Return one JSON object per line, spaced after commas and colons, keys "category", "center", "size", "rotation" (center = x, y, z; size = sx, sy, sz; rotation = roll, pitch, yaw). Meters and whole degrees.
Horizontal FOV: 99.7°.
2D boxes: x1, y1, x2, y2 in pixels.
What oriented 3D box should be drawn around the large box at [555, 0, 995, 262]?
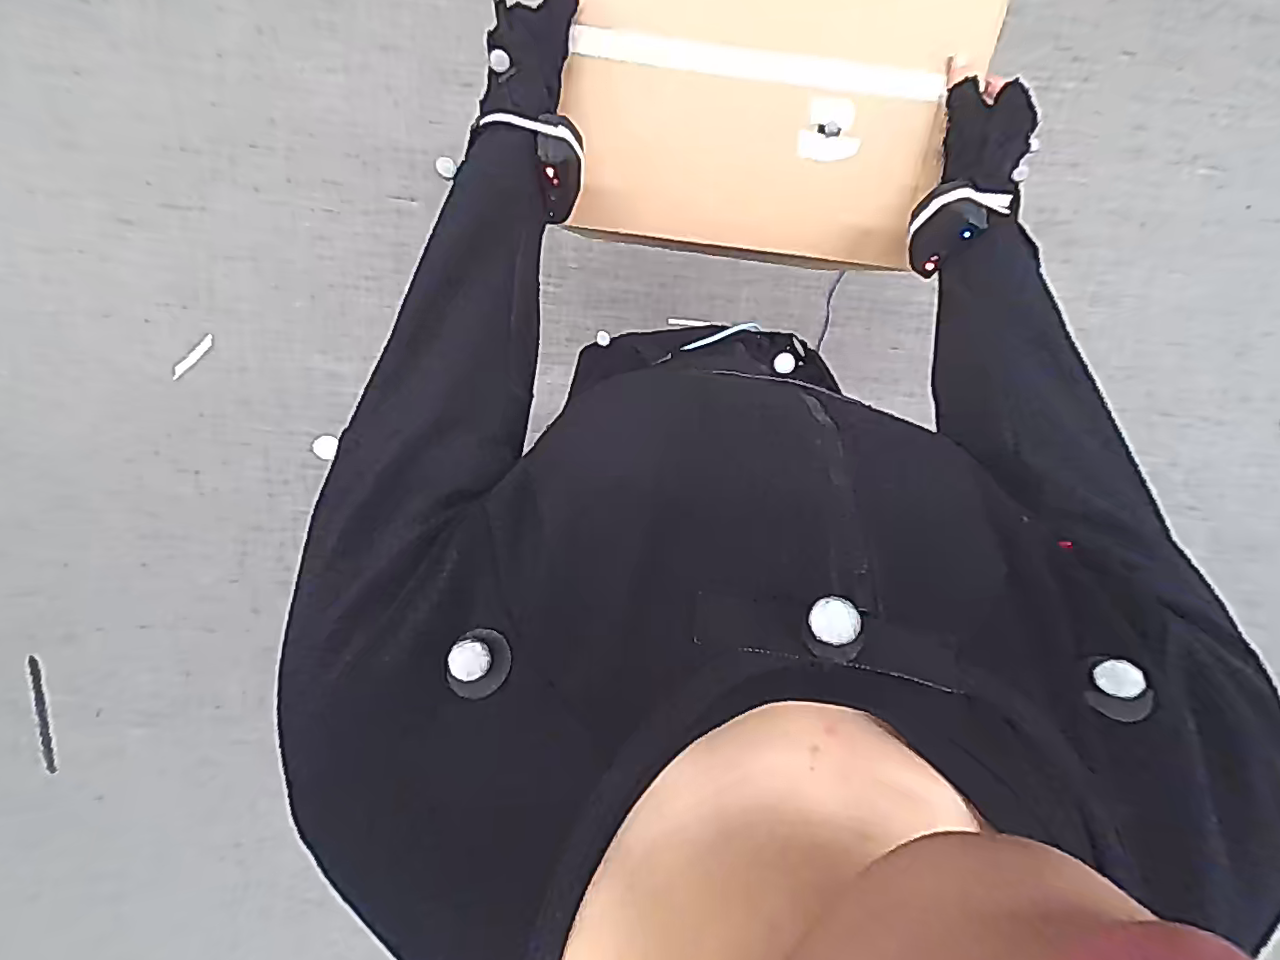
{"category": "large box", "center": [0.120, -0.449, 0.653], "size": [0.408, 0.320, 0.320], "rotation": [6, 112, -2]}
